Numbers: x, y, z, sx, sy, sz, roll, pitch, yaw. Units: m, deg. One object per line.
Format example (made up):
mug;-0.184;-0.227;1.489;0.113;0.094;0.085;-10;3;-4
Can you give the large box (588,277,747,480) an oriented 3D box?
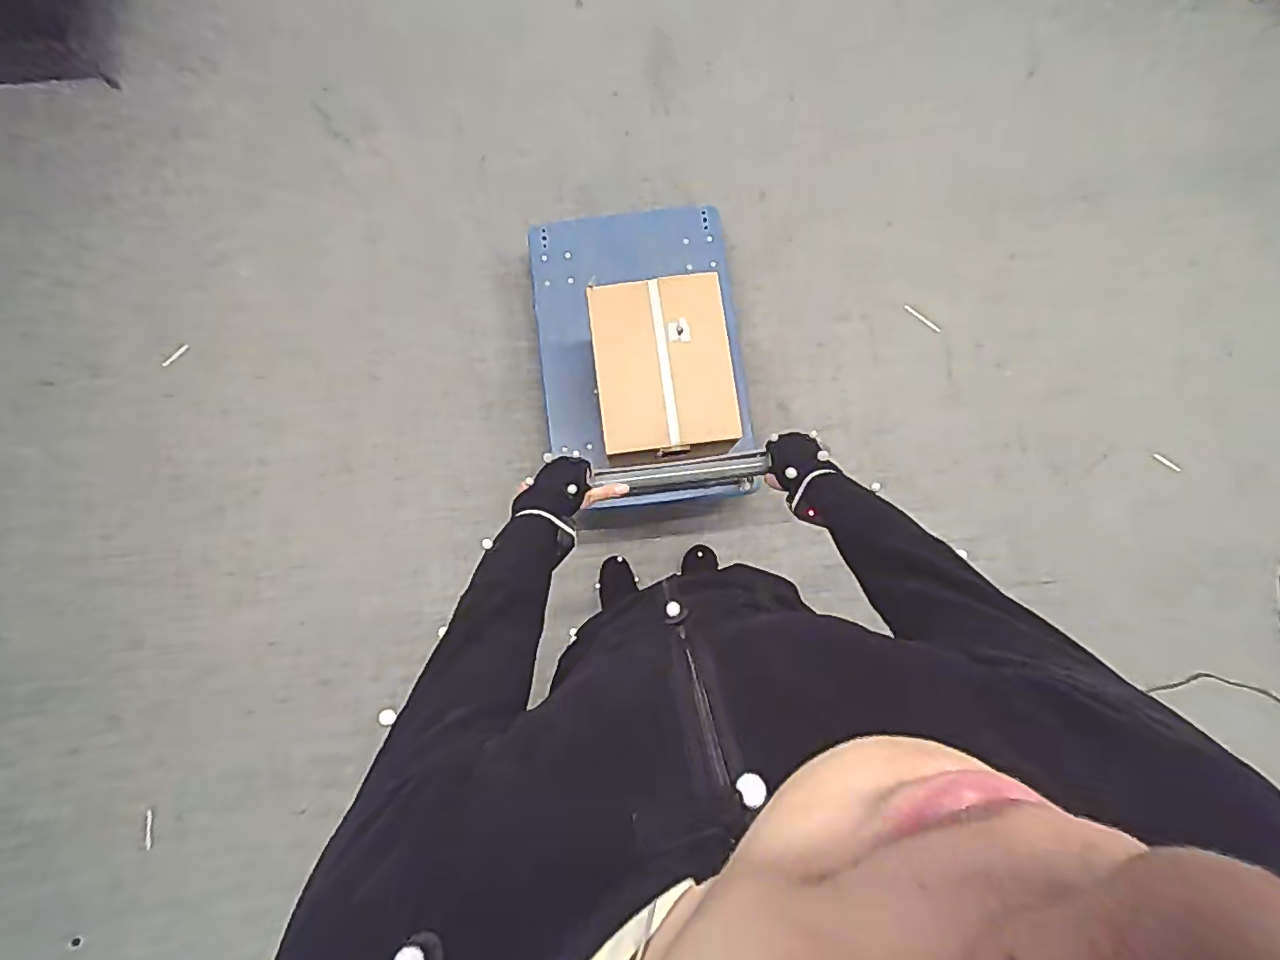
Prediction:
large box;0.060;-0.235;1.371;0.320;0.320;0.408;-7;81;-2
